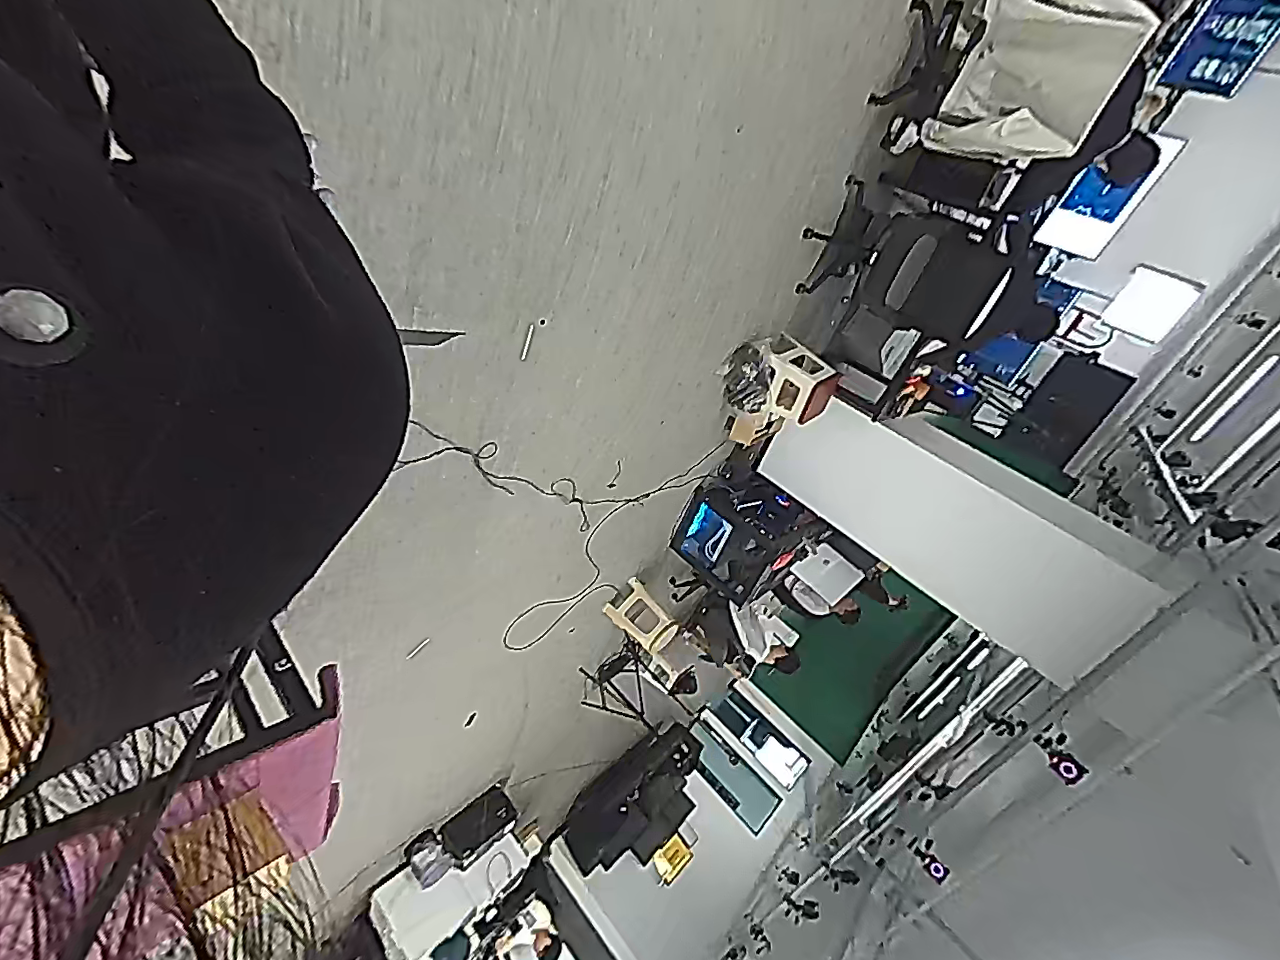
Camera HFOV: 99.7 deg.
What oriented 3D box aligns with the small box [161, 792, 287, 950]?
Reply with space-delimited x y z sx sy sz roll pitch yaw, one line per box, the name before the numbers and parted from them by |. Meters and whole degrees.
small box | -0.865 0.803 1.126 0.179 0.176 0.168 -17 140 -47
